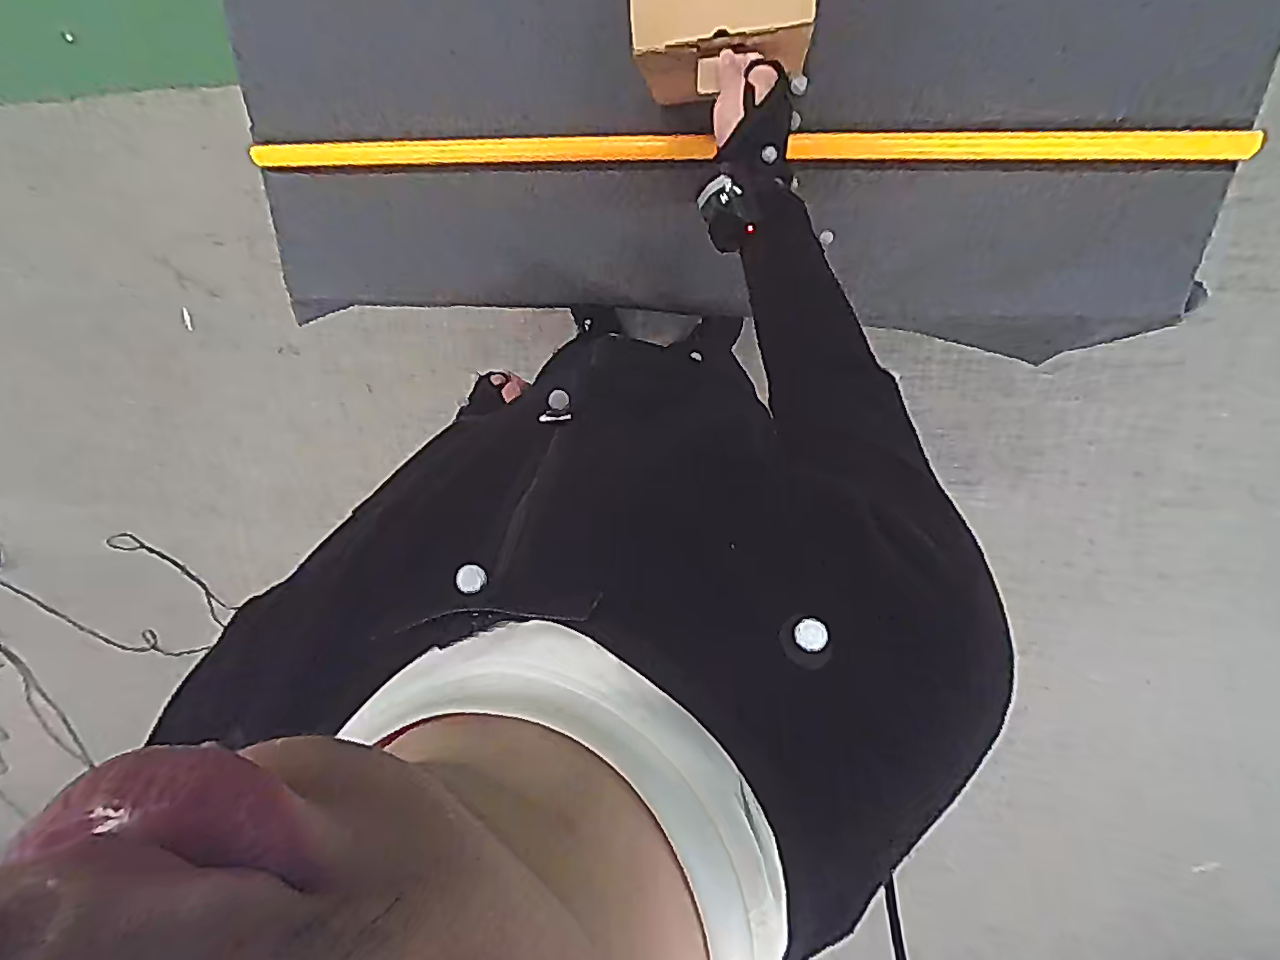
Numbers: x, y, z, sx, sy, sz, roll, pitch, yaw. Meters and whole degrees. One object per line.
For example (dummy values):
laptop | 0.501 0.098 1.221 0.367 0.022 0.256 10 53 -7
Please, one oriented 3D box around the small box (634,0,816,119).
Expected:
small box | 0.089 -0.495 0.550 0.168 0.176 0.179 -2 107 14
